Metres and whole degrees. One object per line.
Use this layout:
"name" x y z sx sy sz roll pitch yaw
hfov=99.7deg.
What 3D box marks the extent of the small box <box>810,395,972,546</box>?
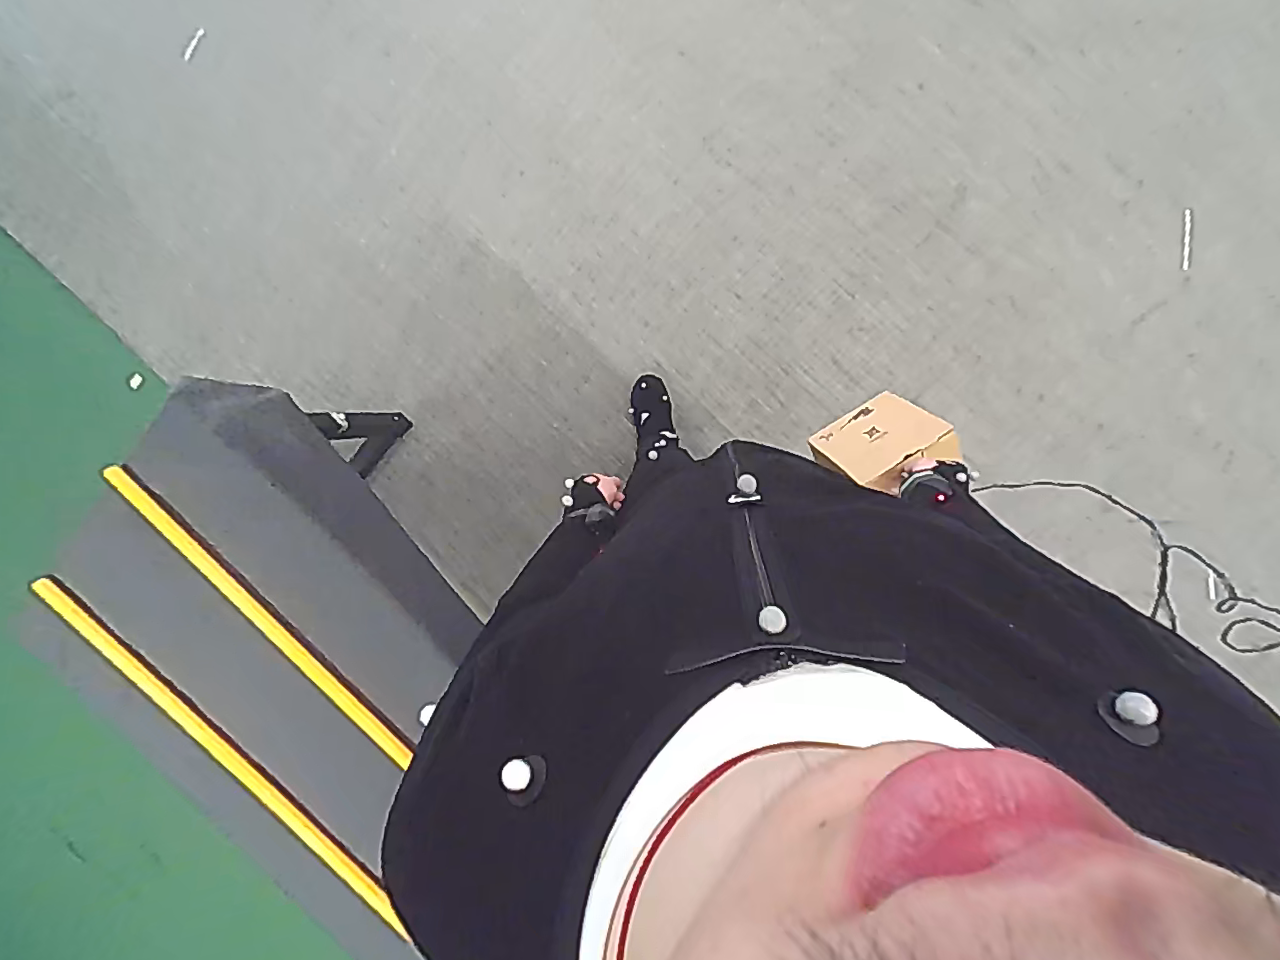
"small box" 0.432 -0.011 0.932 0.168 0.179 0.176 -35 120 4
